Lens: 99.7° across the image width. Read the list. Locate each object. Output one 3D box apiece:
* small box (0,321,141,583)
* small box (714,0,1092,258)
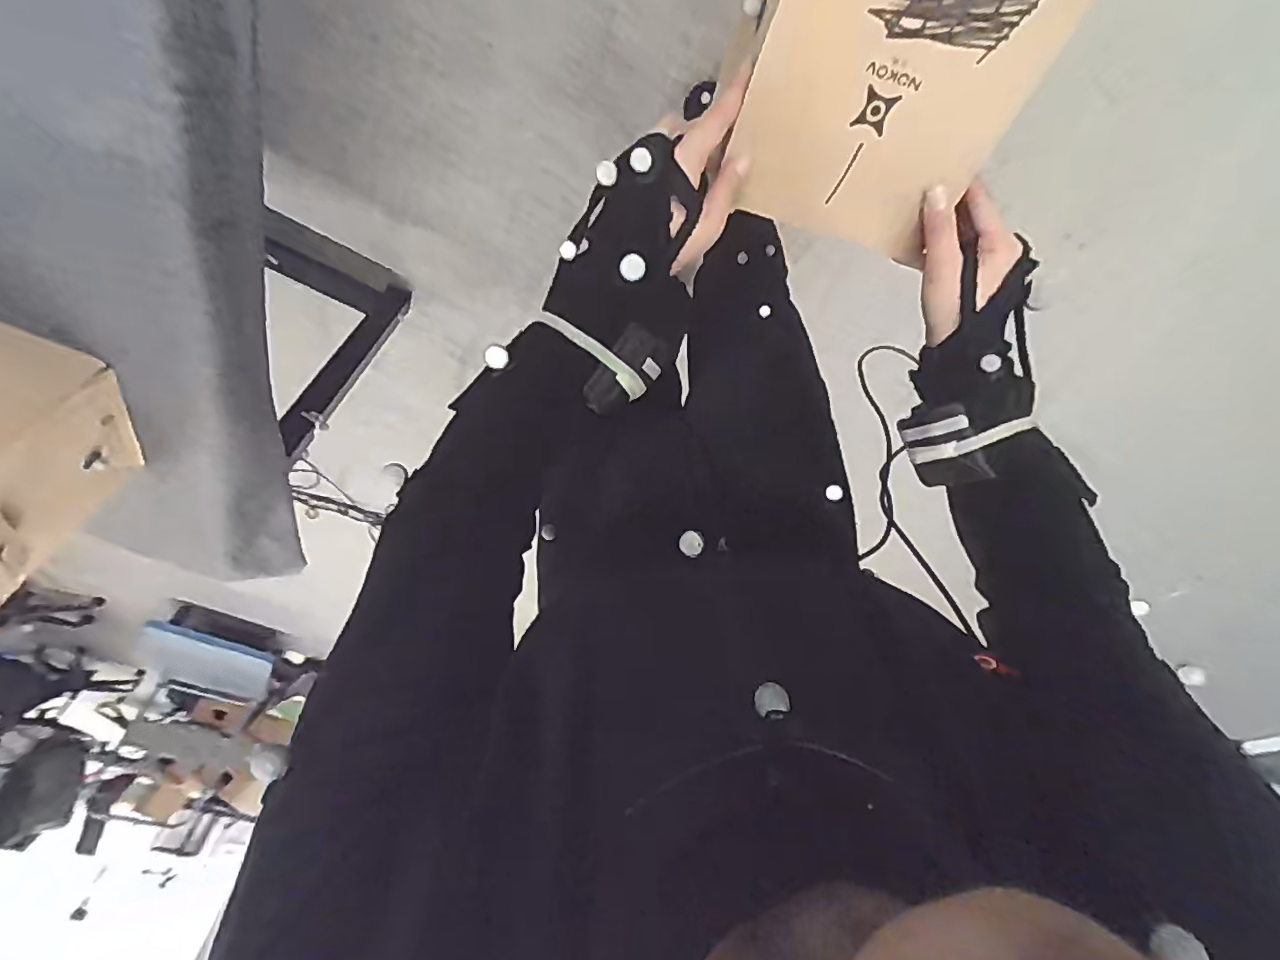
[{"bbox_3d":[-0.619,-0.040,0.488,0.179,0.176,0.168,23,136,-15],"label":"small box"},{"bbox_3d":[0.153,-0.294,0.379,0.168,0.176,0.179,12,138,-8],"label":"small box"}]
